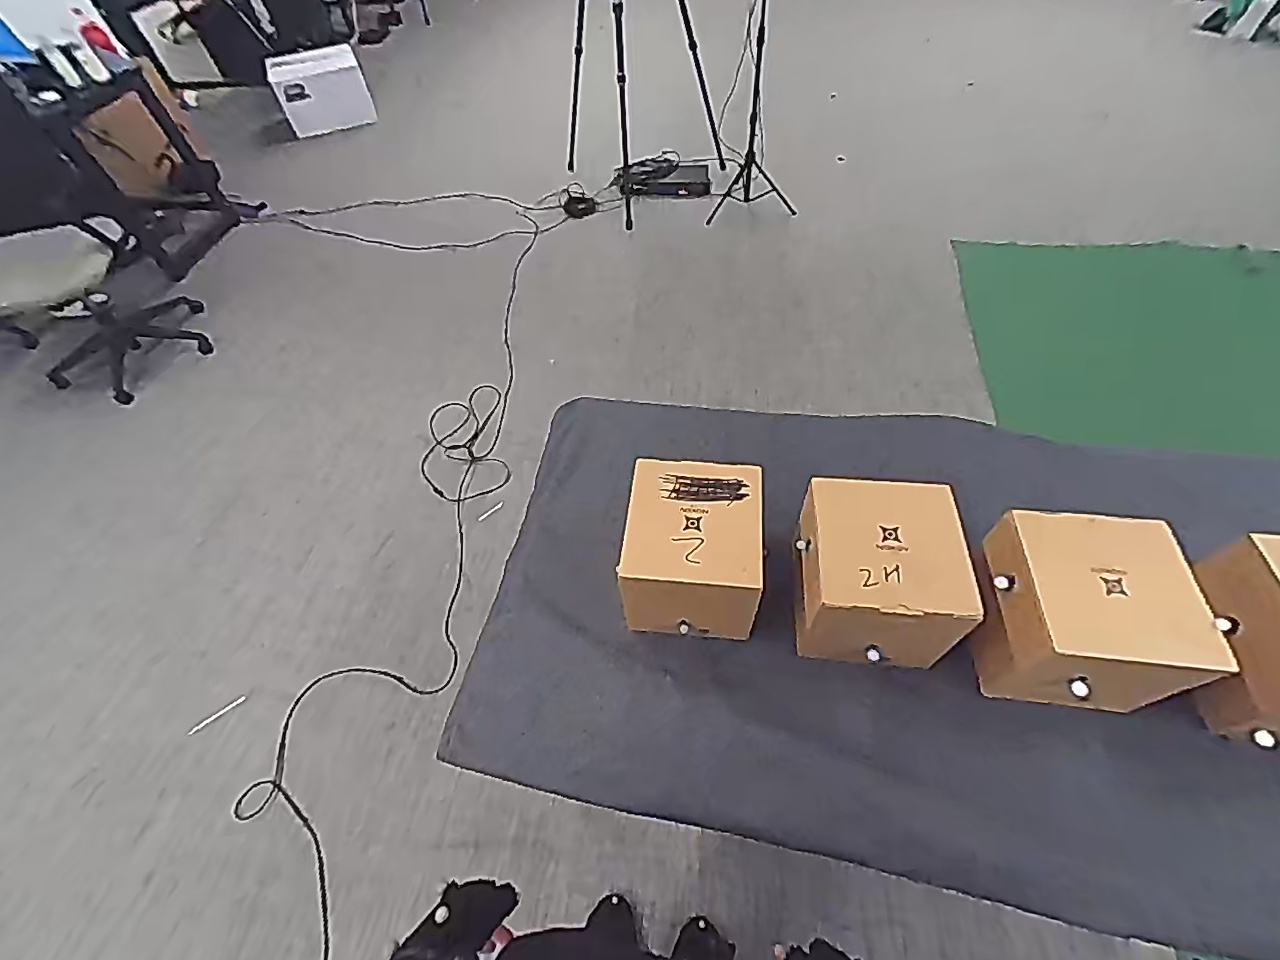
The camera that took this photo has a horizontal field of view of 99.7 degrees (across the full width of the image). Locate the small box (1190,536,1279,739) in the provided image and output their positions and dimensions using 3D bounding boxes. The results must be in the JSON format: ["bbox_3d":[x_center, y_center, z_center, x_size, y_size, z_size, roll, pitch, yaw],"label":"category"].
[{"bbox_3d":[0.742,0.184,0.596,0.168,0.176,0.179,4,53,8],"label":"small box"}]

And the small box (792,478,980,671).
[{"bbox_3d":[0.288,0.120,0.682,0.168,0.176,0.179,4,54,8],"label":"small box"}]

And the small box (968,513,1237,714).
[{"bbox_3d":[0.506,0.160,0.636,0.168,0.176,0.179,4,53,8],"label":"small box"}]
